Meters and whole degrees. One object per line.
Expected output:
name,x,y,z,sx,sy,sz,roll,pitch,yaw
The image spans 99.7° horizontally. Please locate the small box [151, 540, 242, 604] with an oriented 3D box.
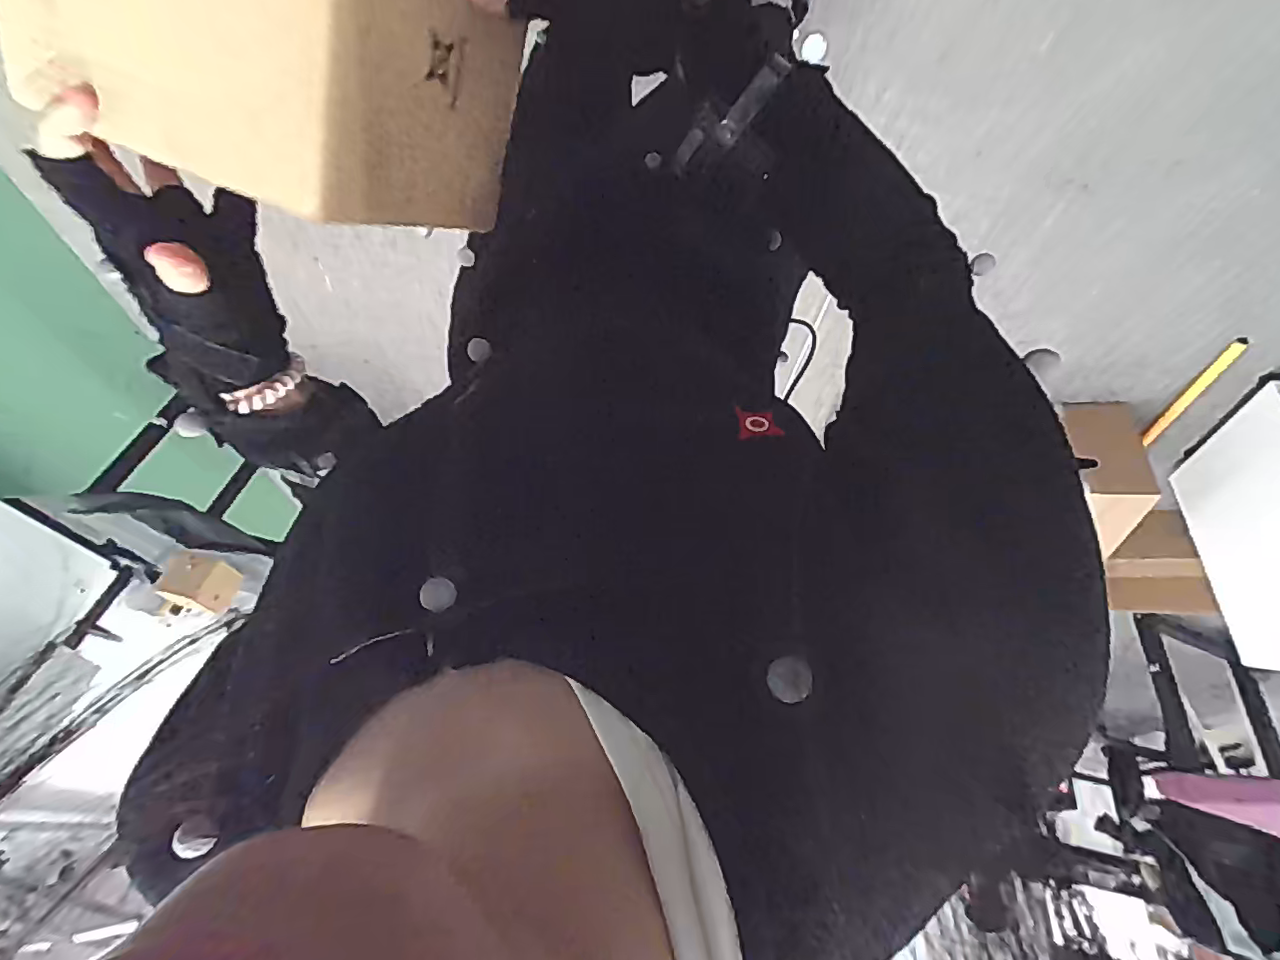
small box,-1.674,0.350,2.055,0.168,0.176,0.179,12,148,3
